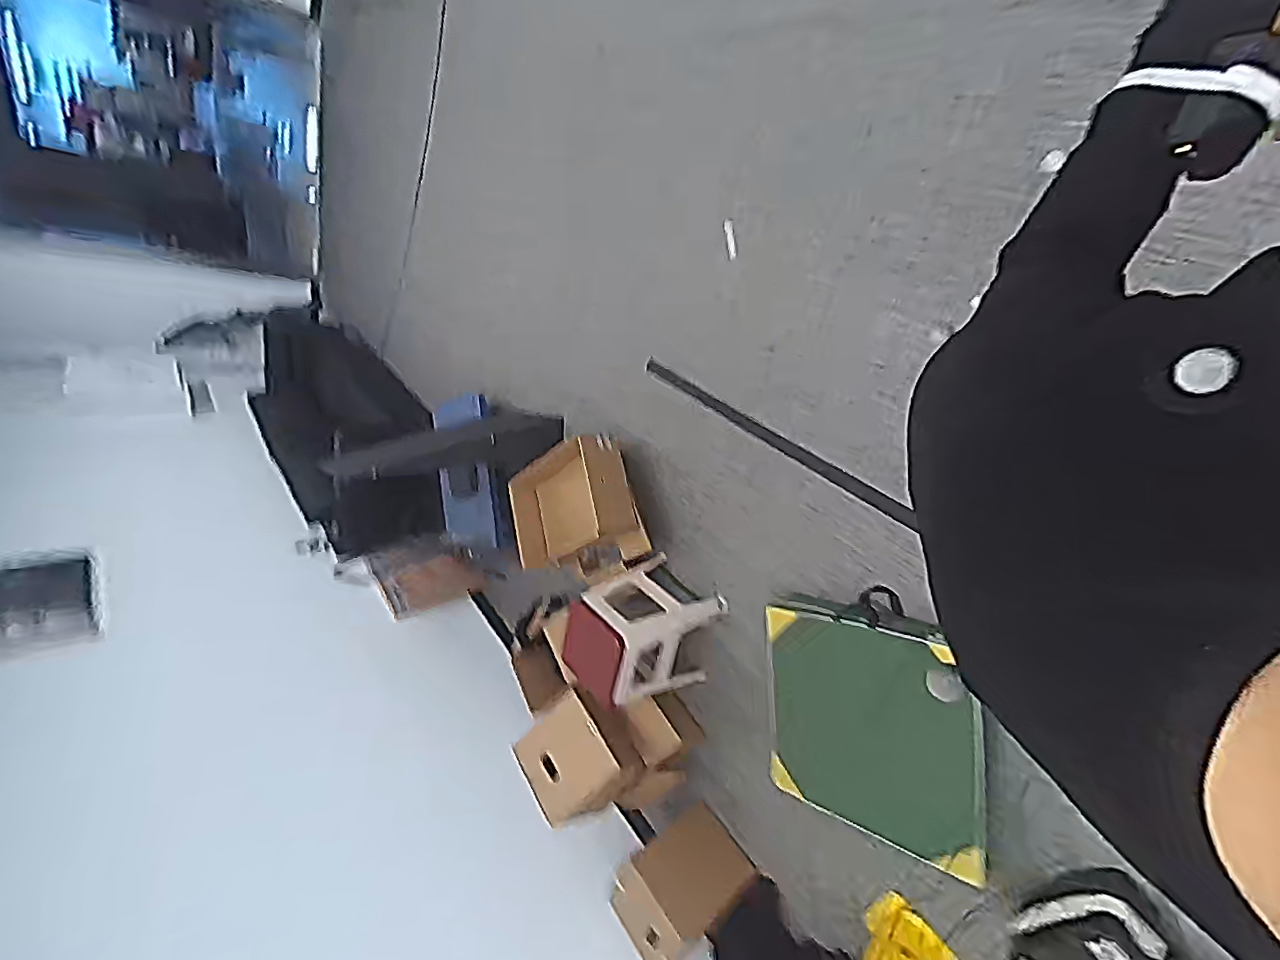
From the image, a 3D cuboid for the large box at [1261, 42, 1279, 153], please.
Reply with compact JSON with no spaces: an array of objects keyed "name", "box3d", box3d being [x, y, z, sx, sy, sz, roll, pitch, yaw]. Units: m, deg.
[{"name":"large box","box3d":[0.662,-0.336,0.252,0.408,0.320,0.320,36,127,36]}]
